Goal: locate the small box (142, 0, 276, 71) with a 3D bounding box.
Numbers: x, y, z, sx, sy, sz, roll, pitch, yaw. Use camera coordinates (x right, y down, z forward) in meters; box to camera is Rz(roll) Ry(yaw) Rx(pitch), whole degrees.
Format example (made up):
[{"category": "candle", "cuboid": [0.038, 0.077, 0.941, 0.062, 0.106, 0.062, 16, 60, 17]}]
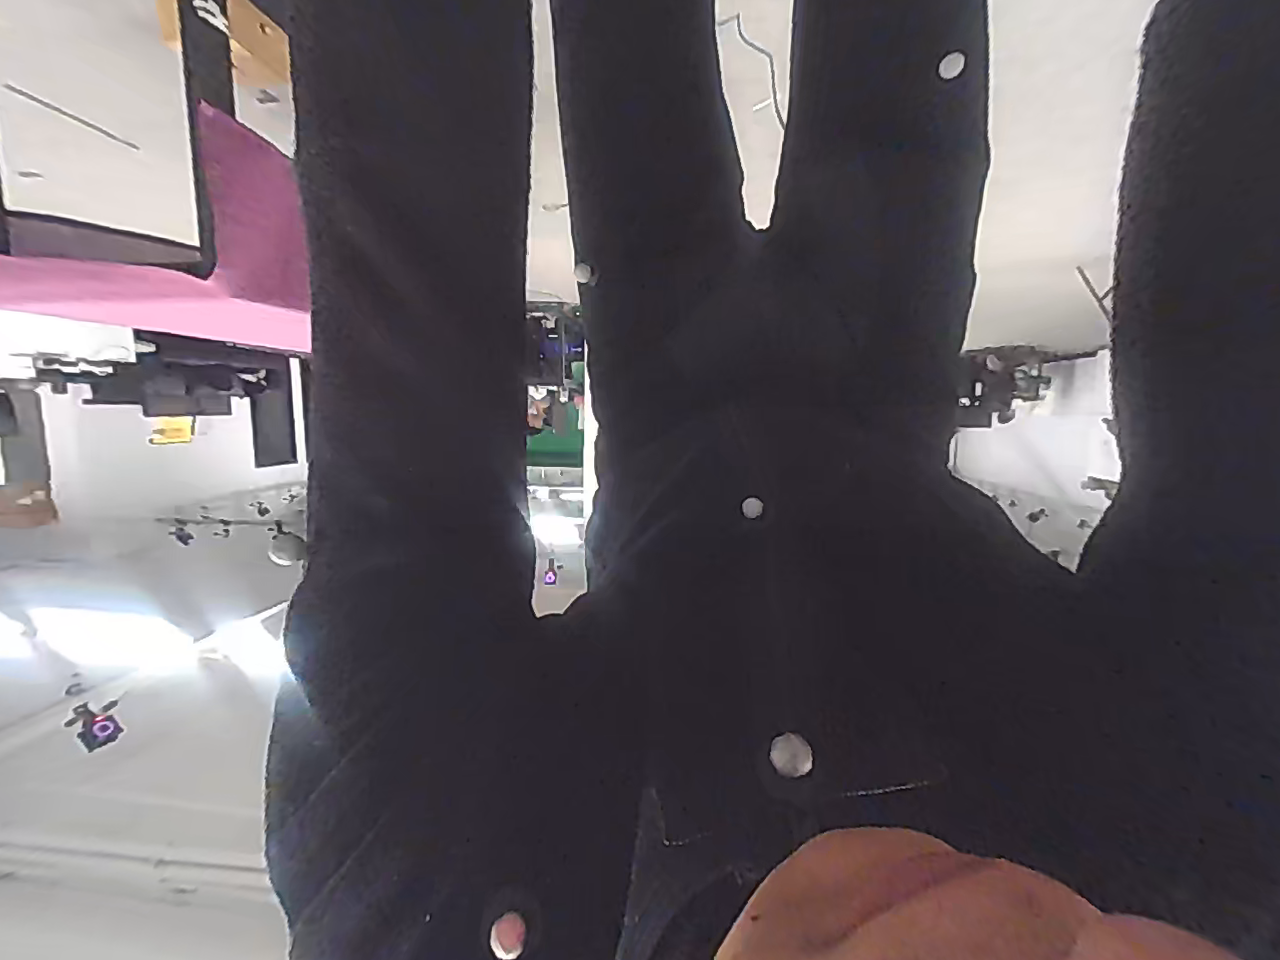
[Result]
[{"category": "small box", "cuboid": [-0.940, -1.036, 1.176, 0.168, 0.176, 0.179, 2, -171, 5]}]
